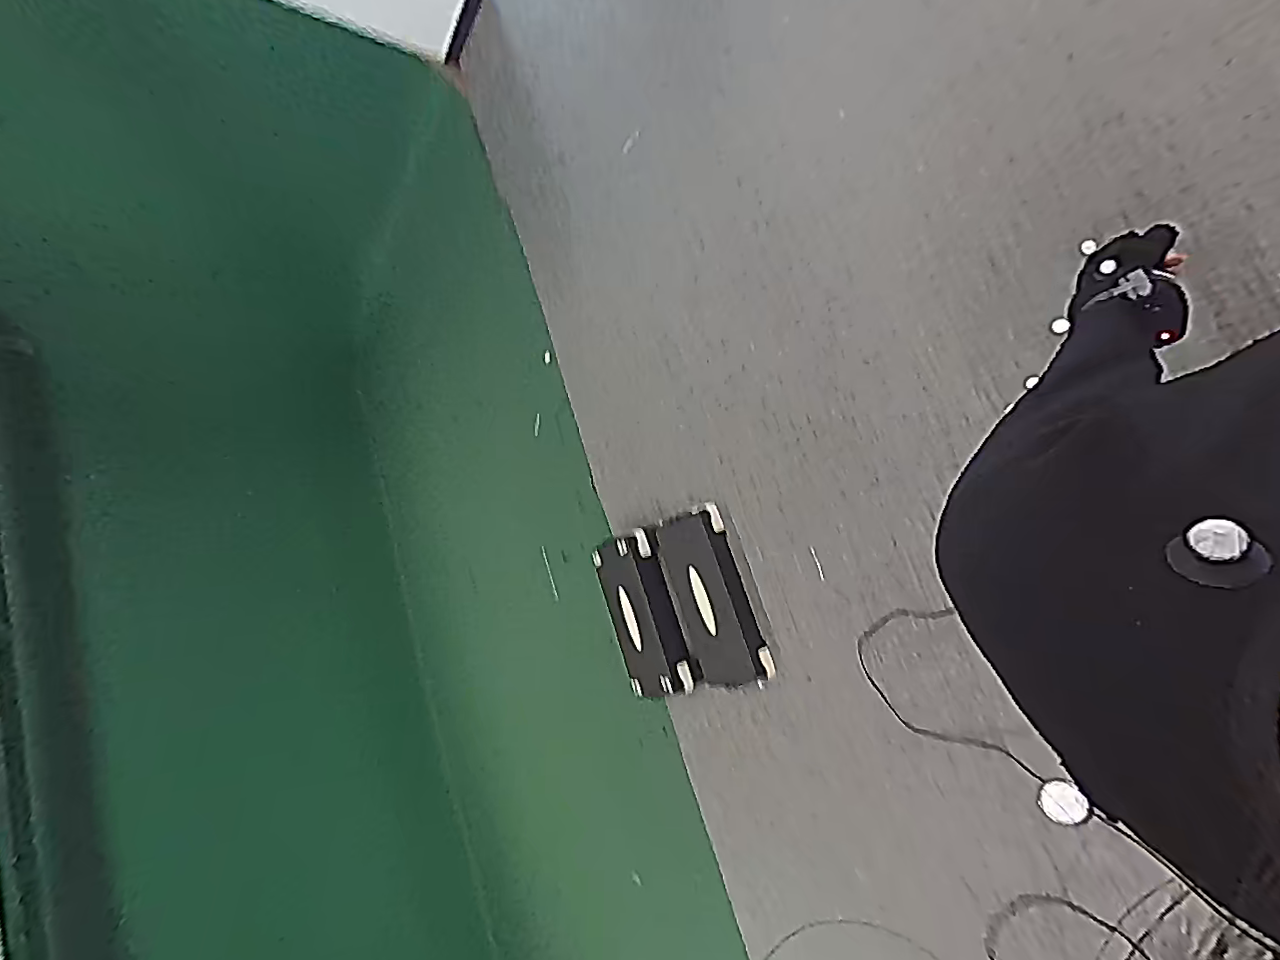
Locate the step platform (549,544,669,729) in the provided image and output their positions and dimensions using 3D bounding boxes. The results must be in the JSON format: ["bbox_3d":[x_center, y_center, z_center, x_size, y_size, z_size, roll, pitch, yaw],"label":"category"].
[{"bbox_3d":[-0.128,0.603,2.142,0.286,0.204,0.684,-29,77,47],"label":"step platform"}]
